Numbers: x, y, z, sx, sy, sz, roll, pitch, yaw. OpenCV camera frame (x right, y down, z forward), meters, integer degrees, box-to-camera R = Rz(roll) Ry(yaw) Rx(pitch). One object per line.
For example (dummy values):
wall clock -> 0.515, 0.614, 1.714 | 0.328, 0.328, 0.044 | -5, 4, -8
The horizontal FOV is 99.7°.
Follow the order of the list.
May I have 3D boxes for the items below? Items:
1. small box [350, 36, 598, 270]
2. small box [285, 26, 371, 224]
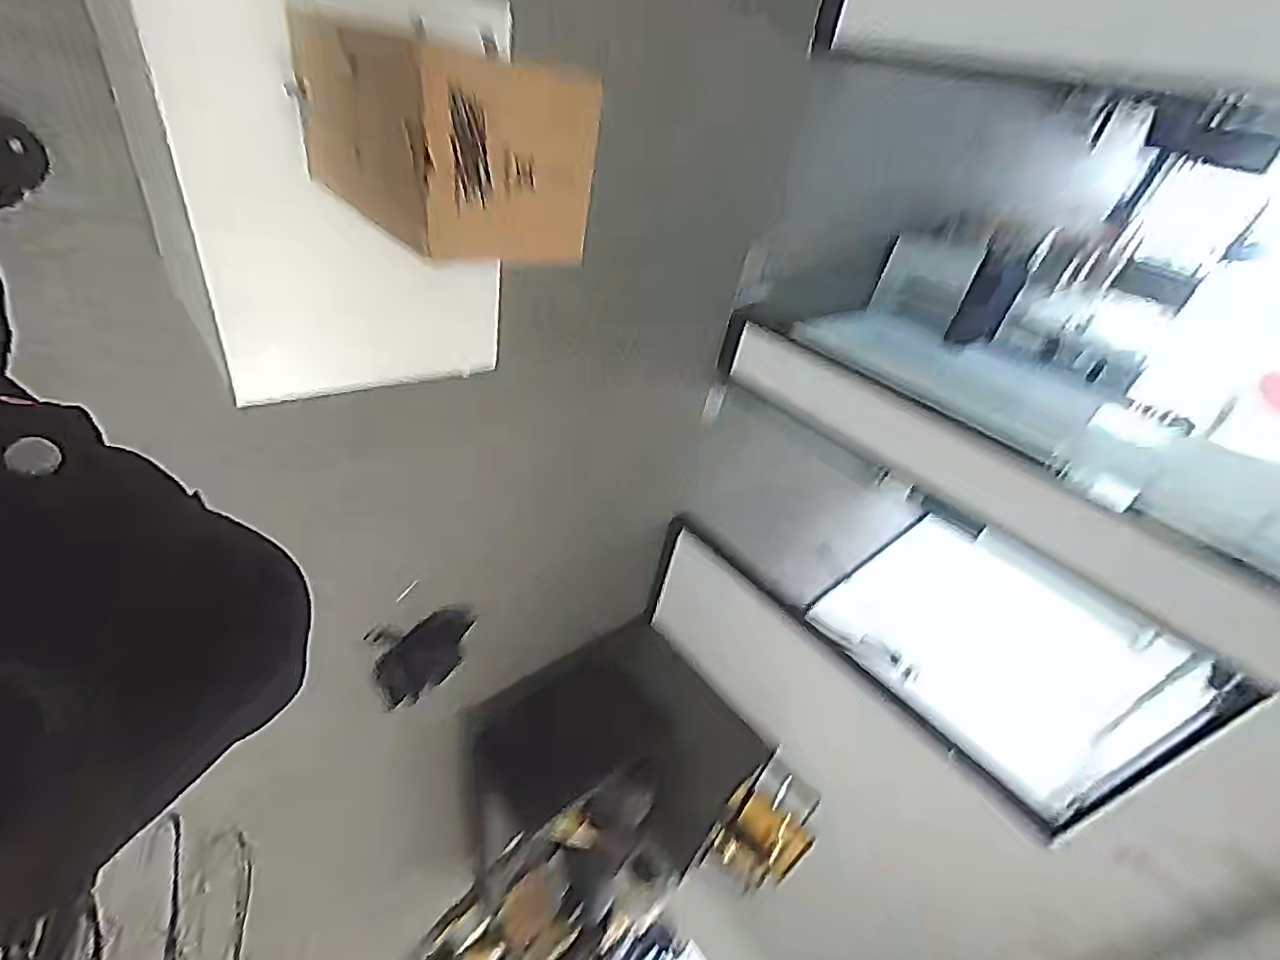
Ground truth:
small box -> -0.170, -0.318, 0.539 | 0.179, 0.176, 0.168 | -20, 136, -40
small box -> -0.278, -0.404, 0.628 | 0.179, 0.176, 0.168 | -19, 135, -37
